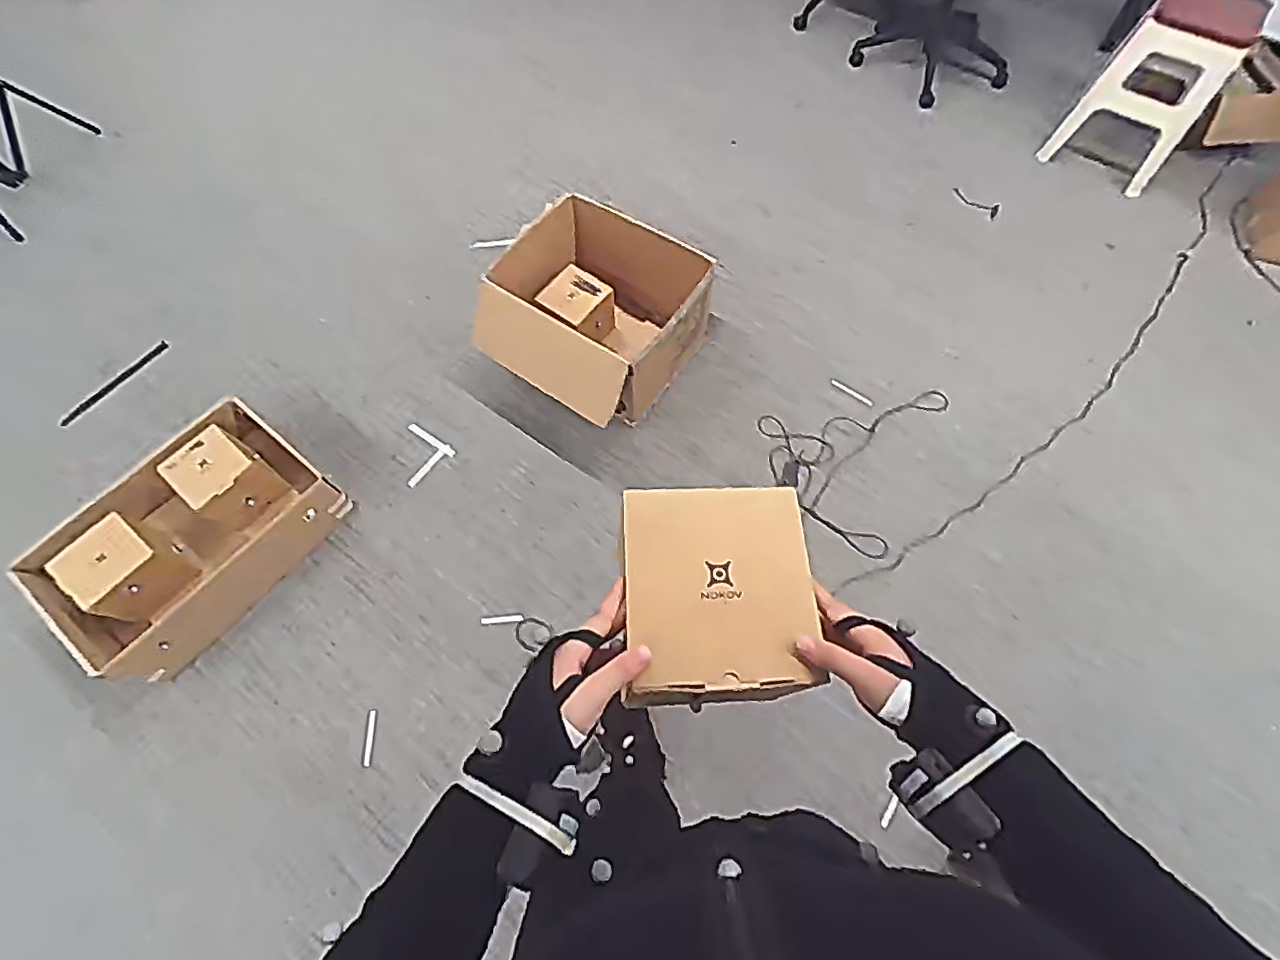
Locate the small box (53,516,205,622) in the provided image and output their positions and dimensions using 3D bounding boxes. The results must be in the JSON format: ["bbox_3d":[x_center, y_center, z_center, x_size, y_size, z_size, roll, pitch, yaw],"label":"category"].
[{"bbox_3d":[-1.237,0.225,1.324,0.168,0.176,0.179,36,69,12],"label":"small box"}]

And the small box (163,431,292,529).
[{"bbox_3d":[-1.069,0.009,1.419,0.179,0.176,0.168,38,72,14],"label":"small box"}]
